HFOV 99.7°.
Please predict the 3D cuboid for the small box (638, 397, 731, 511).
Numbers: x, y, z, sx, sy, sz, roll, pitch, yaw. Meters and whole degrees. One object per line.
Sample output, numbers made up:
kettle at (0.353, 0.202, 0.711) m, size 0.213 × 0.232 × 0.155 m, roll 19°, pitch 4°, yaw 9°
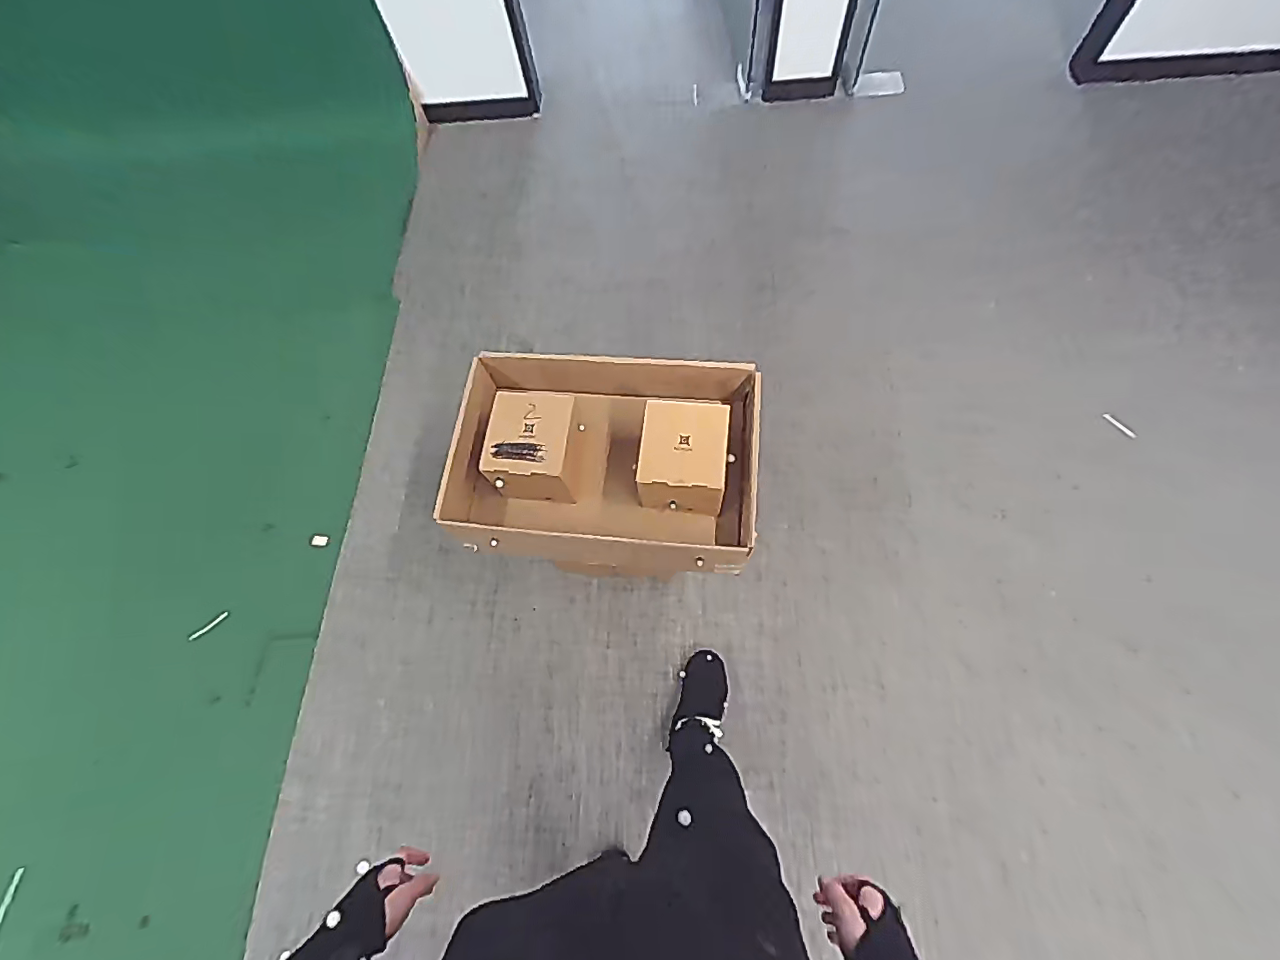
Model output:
small box at (0.091, -0.049, 1.099) m, size 0.168 × 0.176 × 0.179 m, roll 4°, pitch 71°, yaw 6°
